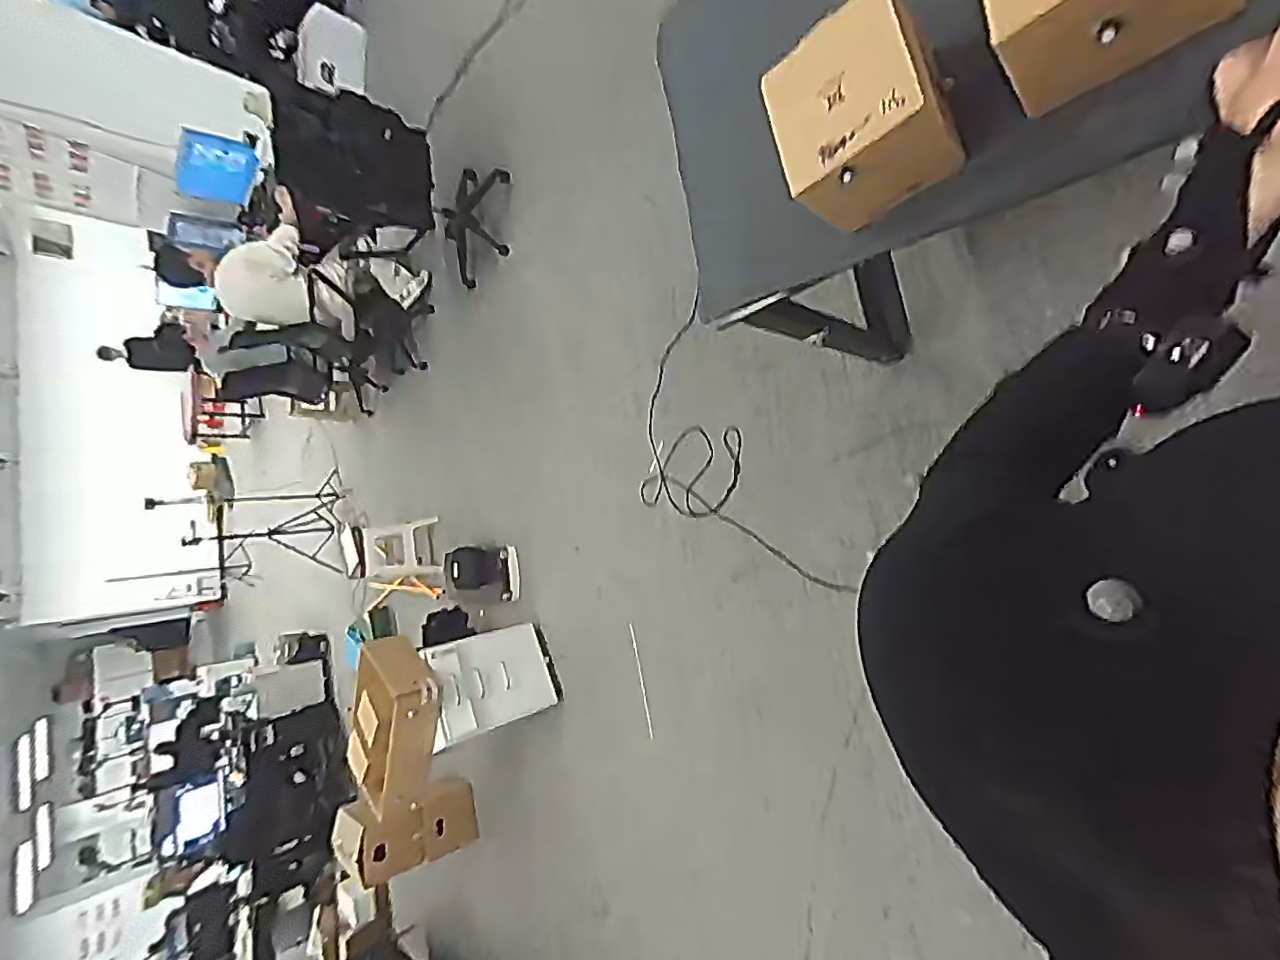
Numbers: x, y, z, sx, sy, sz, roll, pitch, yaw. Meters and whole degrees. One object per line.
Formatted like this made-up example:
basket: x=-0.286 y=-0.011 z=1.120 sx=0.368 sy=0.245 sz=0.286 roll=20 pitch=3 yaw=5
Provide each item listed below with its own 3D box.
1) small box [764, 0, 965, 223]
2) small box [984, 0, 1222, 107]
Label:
small box: x=0.290 y=-0.472 z=0.699 sx=0.168 sy=0.176 sz=0.179 roll=-19 pitch=78 yaw=45
small box: x=0.453 y=-0.523 z=0.529 sx=0.179 sy=0.176 sz=0.168 roll=-13 pitch=81 yaw=47
